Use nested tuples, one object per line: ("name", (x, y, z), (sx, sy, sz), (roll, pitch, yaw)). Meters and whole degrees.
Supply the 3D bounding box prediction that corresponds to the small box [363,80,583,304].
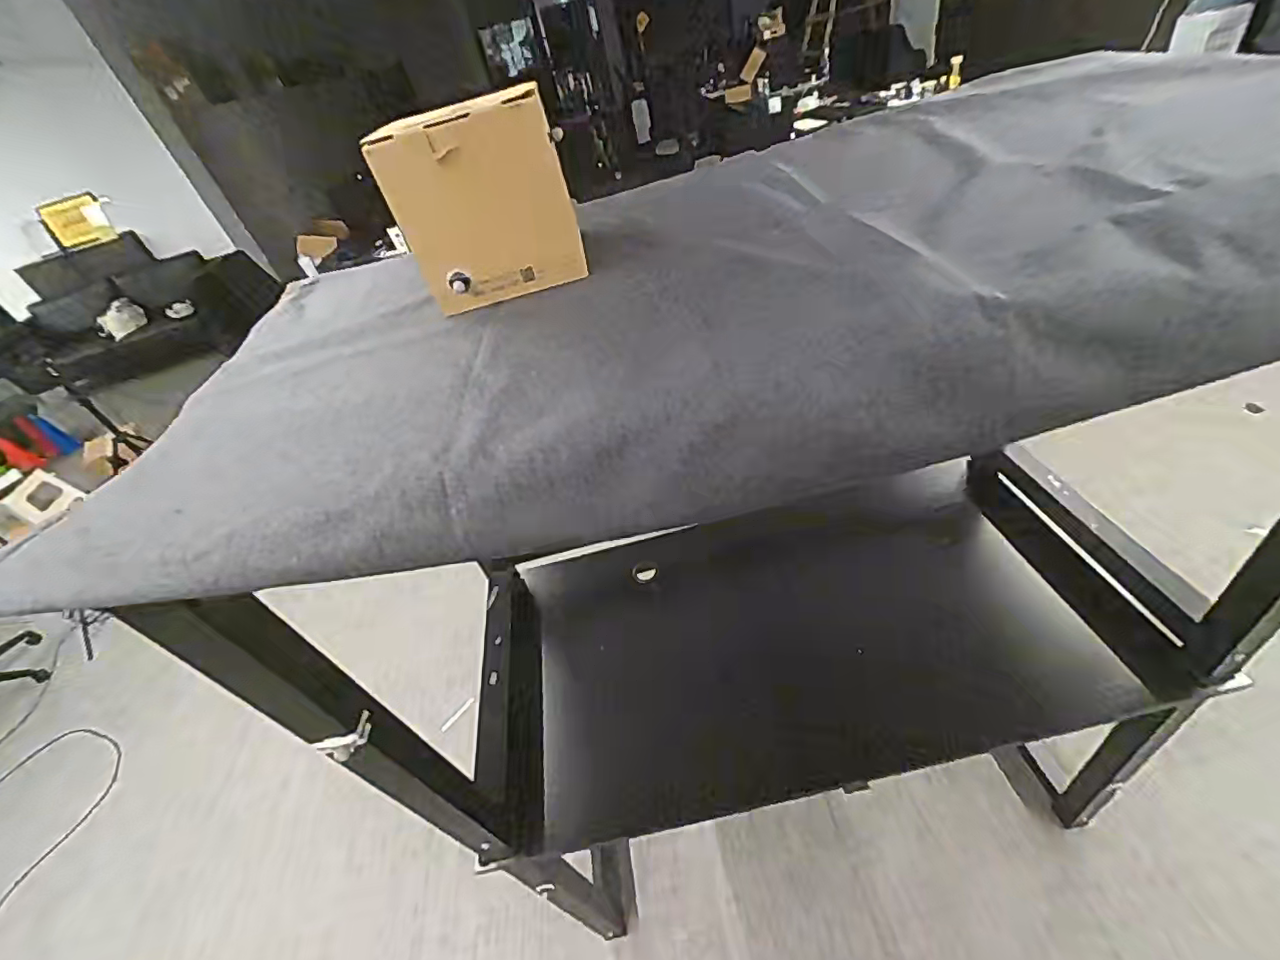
("small box", (-0.165, -0.312, 0.597), (0.168, 0.176, 0.179), (-15, 39, 2))
